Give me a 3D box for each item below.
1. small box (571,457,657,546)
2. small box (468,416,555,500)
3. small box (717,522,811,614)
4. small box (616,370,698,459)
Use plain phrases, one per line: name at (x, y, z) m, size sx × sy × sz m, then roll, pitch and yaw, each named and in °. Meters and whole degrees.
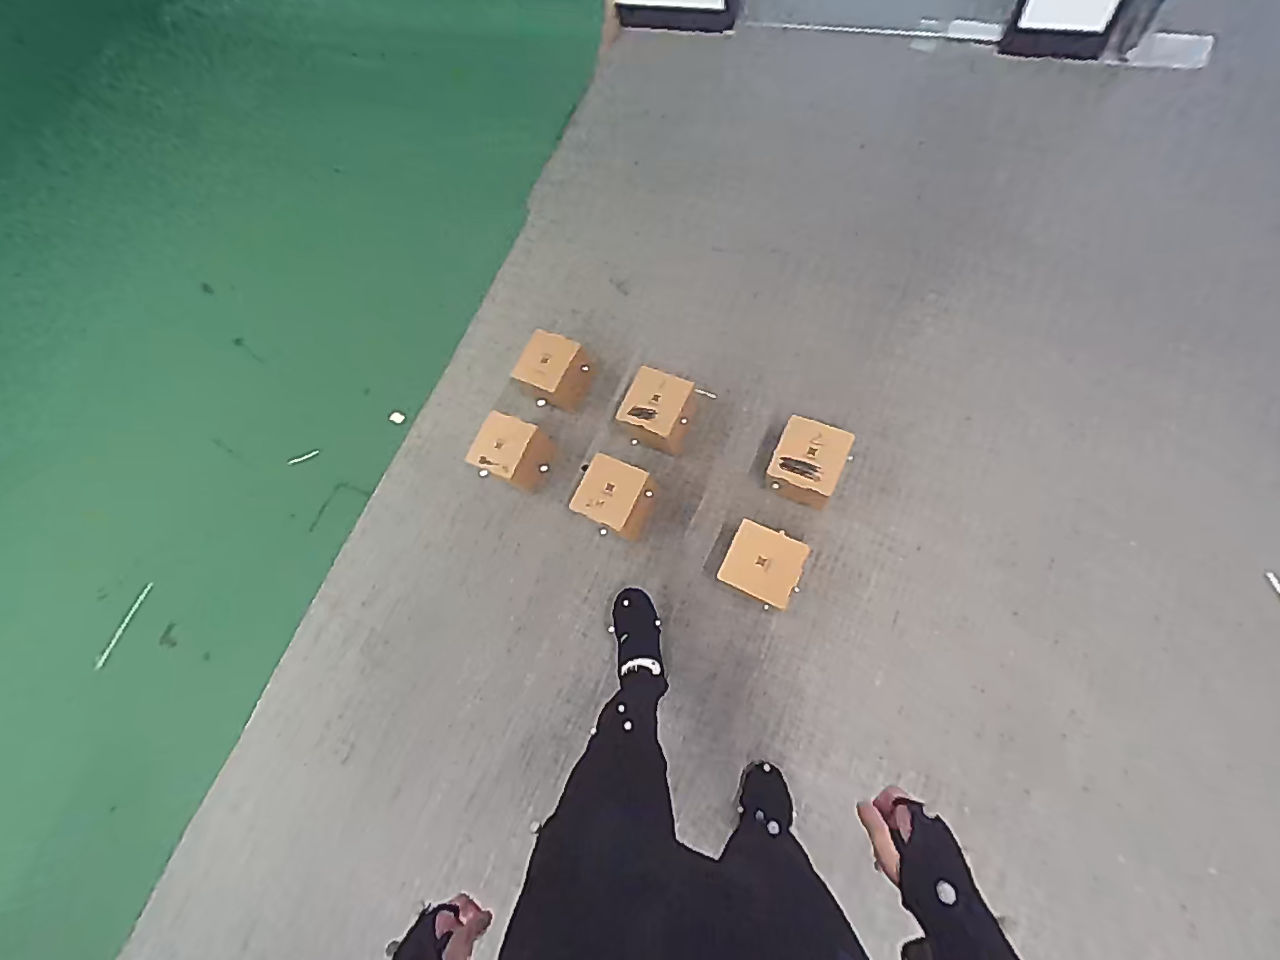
small box at (-0.064, 0.064, 1.510) m, size 0.168 × 0.176 × 0.179 m, roll 22°, pitch 79°, yaw 20°
small box at (-0.377, -0.063, 1.629) m, size 0.168 × 0.176 × 0.179 m, roll 21°, pitch 78°, yaw 20°
small box at (0.312, 0.228, 1.367) m, size 0.179 × 0.176 × 0.168 m, roll 23°, pitch 79°, yaw 19°
small box at (0.056, -0.182, 1.560) m, size 0.168 × 0.176 × 0.179 m, roll 23°, pitch 79°, yaw 19°
